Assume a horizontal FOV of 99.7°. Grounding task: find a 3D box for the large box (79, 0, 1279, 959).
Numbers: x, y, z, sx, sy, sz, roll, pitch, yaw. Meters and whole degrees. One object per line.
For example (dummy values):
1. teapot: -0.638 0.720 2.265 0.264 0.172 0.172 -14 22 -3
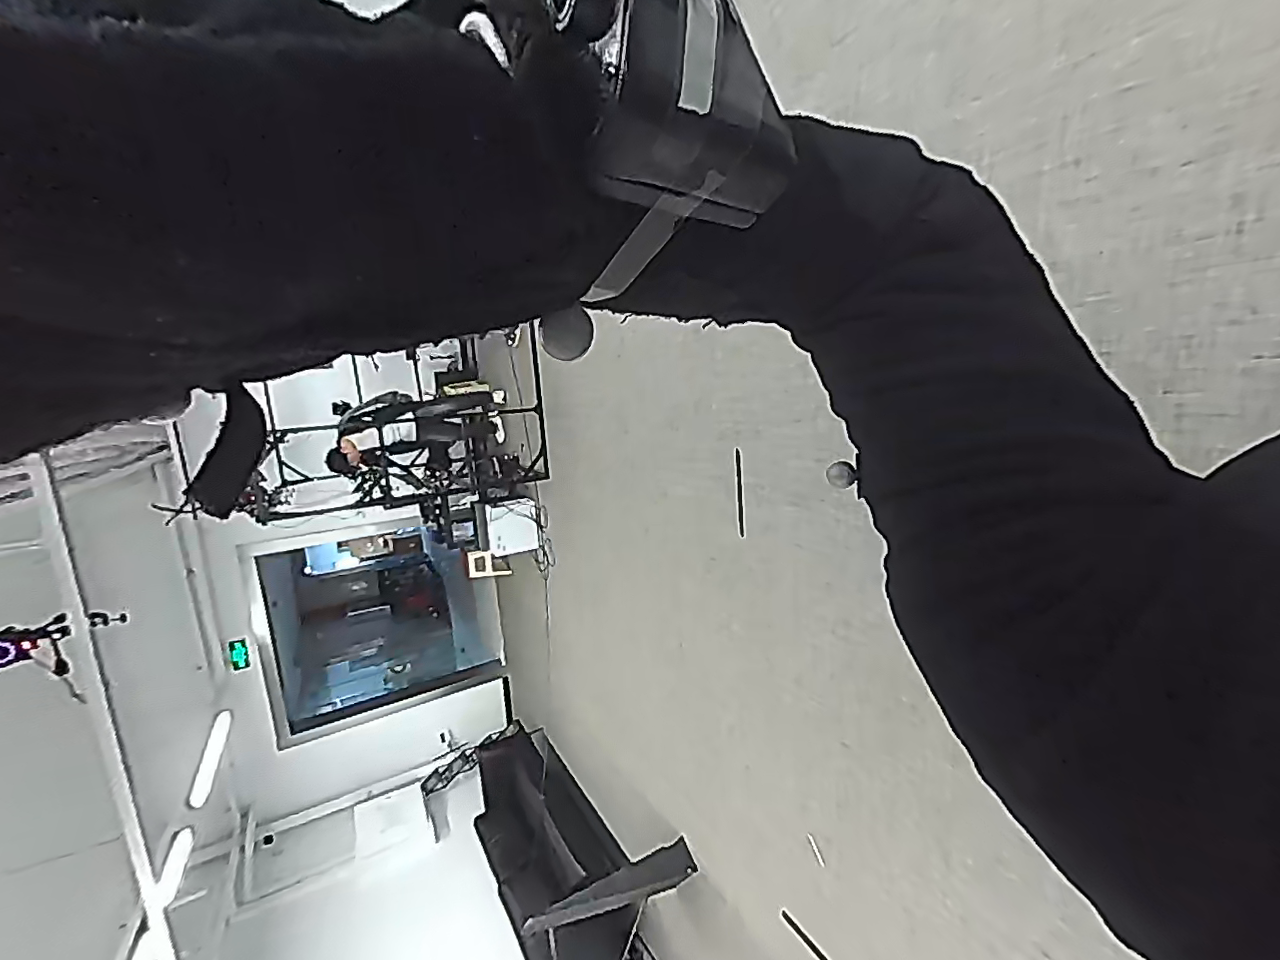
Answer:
1. large box: 0.108 0.055 0.163 0.408 0.320 0.320 15 -114 52
